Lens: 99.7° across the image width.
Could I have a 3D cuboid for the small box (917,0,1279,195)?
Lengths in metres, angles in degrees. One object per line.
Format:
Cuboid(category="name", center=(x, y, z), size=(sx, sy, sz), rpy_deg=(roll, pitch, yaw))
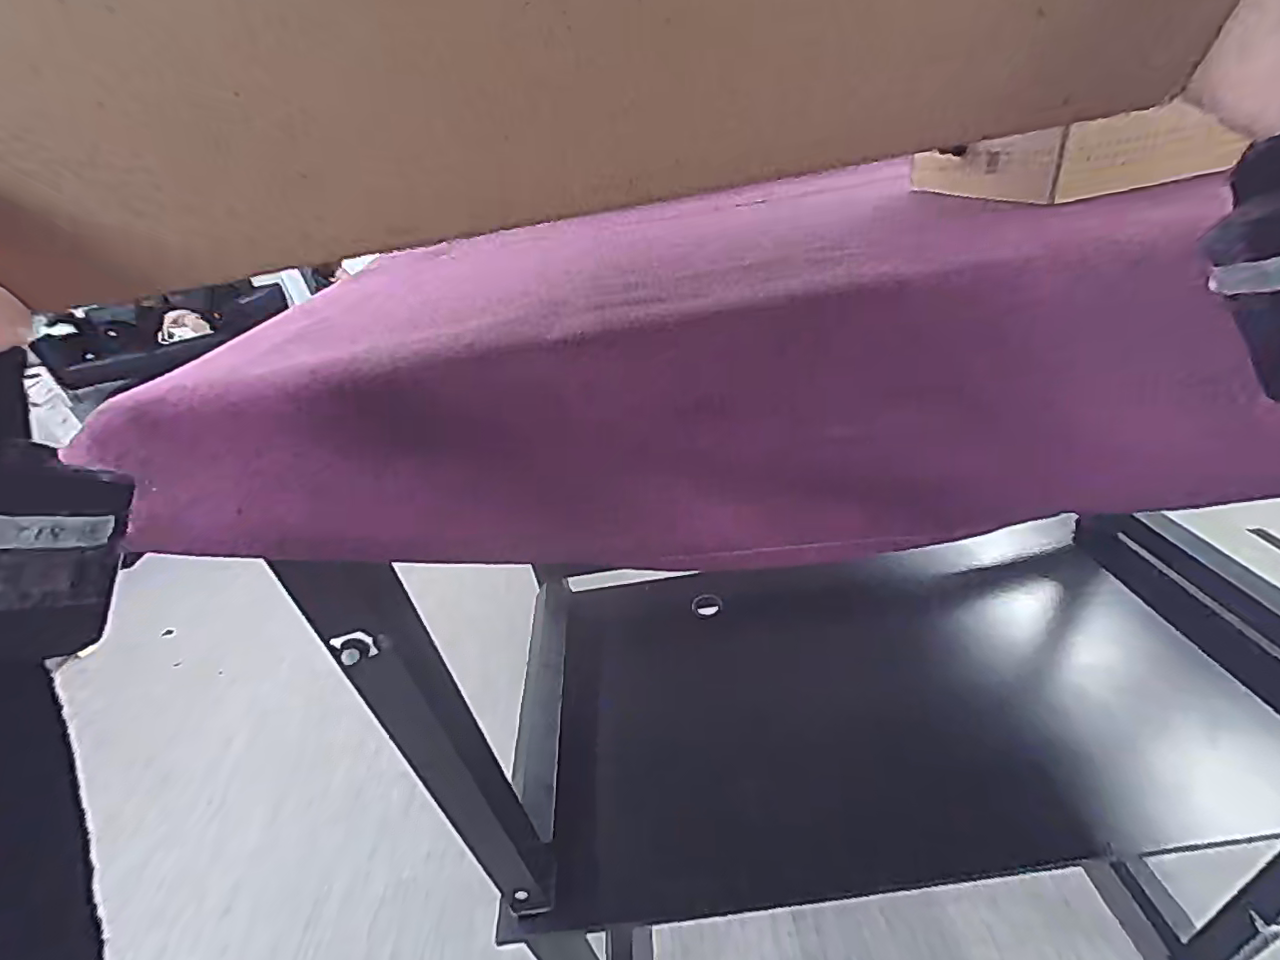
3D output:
Cuboid(category="small box", center=(0.324, -0.313, 0.379), size=(0.179, 0.176, 0.168), rpy_deg=(-13, 31, -2))
